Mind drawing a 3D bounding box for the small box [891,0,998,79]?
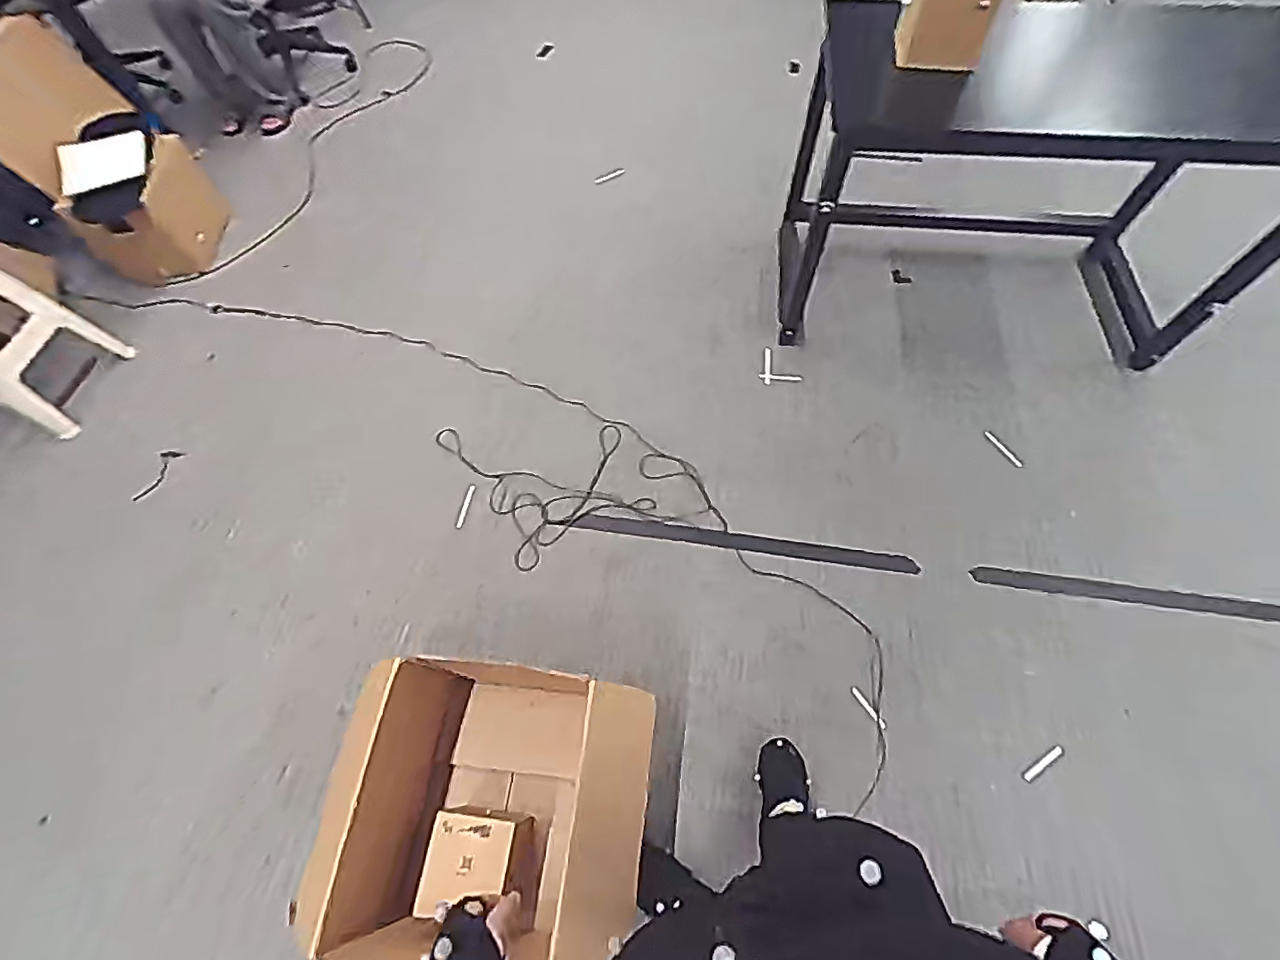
[{"bbox_3d":[0.714,-1.089,1.286,0.179,0.176,0.168,7,63,5],"label":"small box"}]
